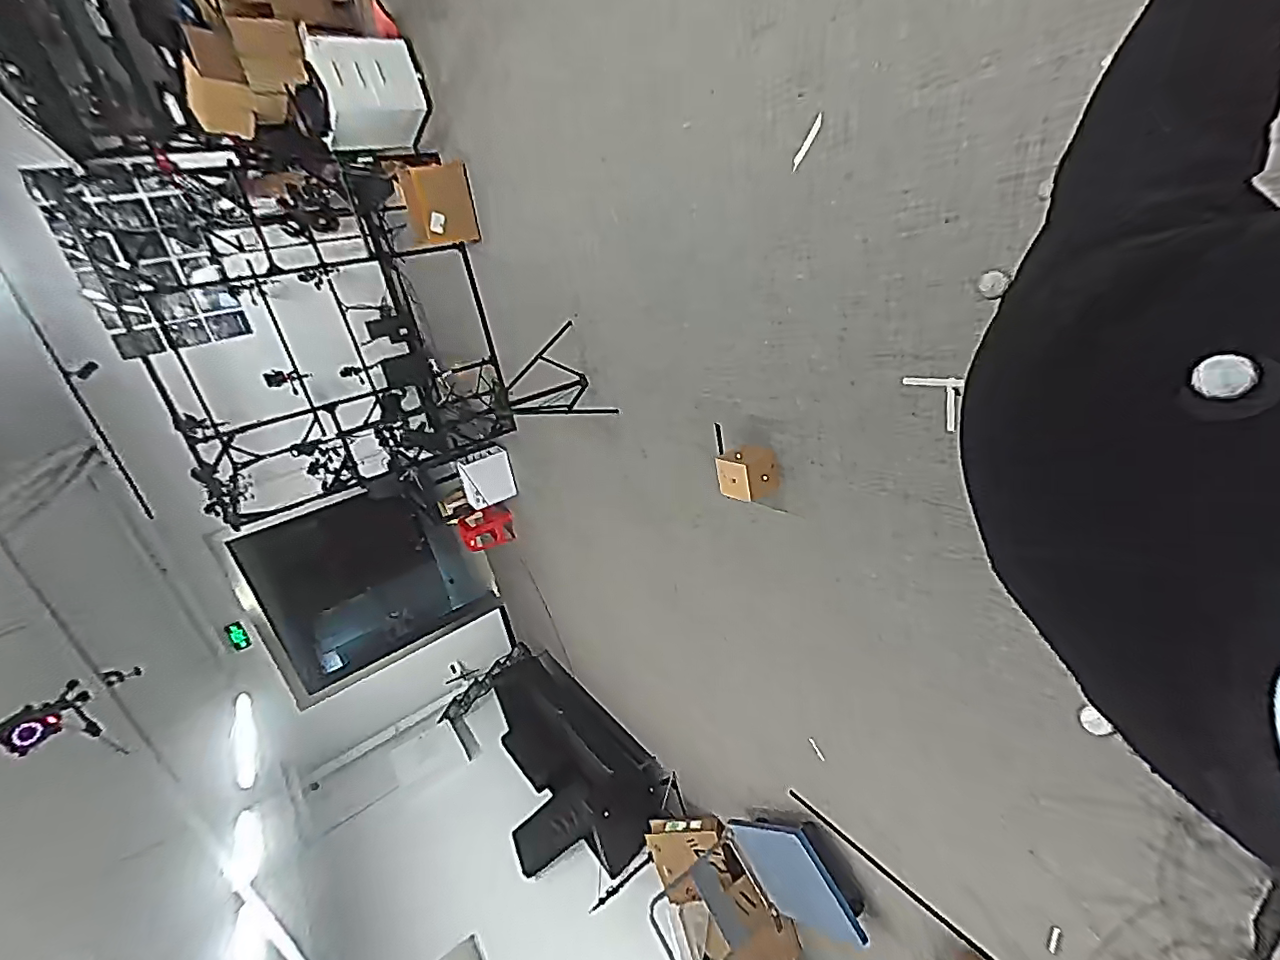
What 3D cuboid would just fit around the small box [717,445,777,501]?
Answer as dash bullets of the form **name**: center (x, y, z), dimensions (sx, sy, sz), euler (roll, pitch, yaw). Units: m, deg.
- **small box**: center (0.443, -0.035, 2.202), dimensions (0.179, 0.176, 0.168), euler (19, 127, 53)
